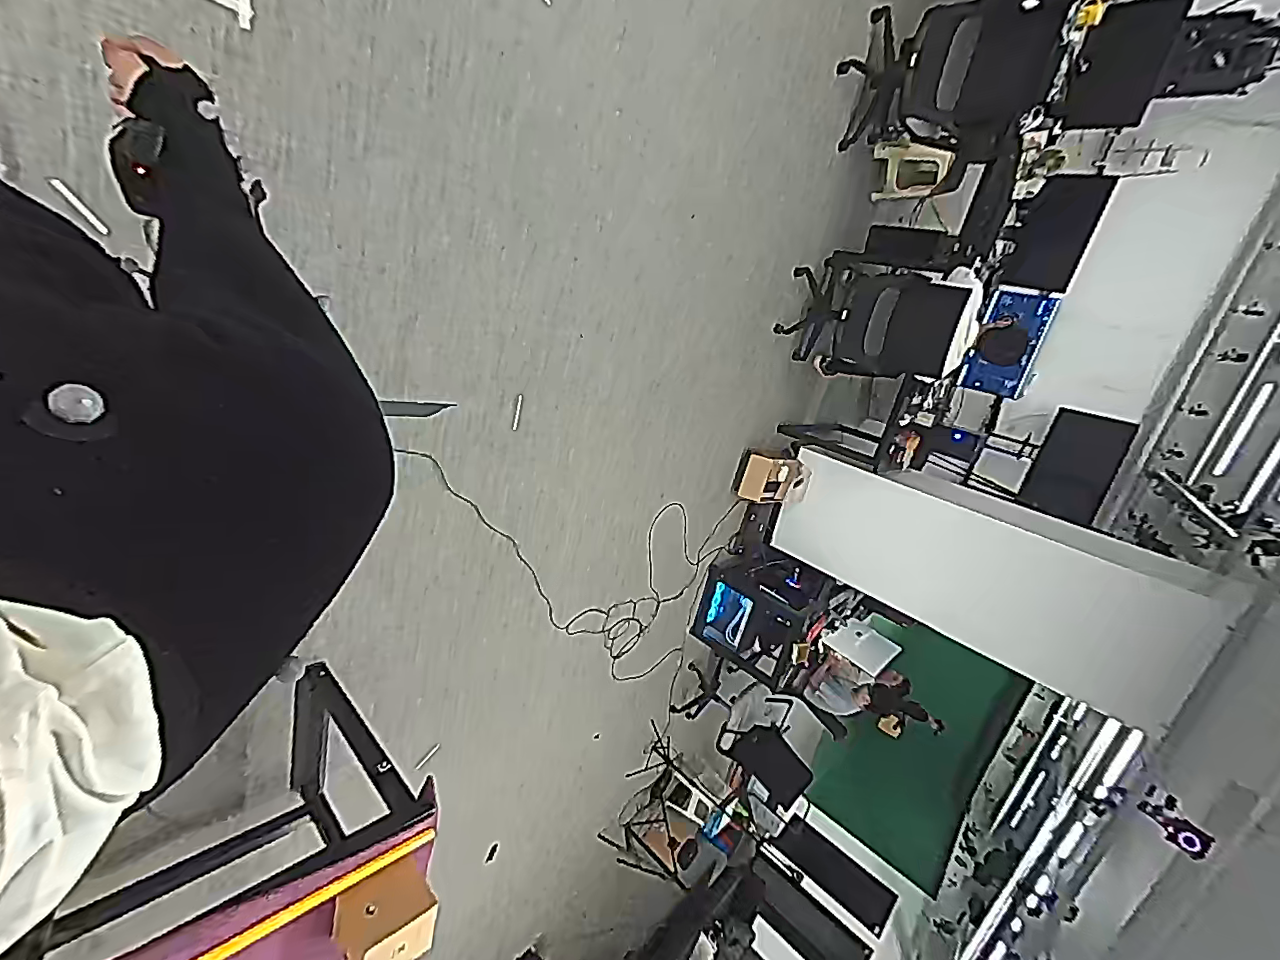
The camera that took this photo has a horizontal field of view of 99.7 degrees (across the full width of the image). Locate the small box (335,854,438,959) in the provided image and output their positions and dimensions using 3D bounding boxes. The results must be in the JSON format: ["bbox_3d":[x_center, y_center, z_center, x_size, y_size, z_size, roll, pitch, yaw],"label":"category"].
[{"bbox_3d":[-0.620,1.073,1.313,0.179,0.176,0.168,-5,115,-47],"label":"small box"}]
